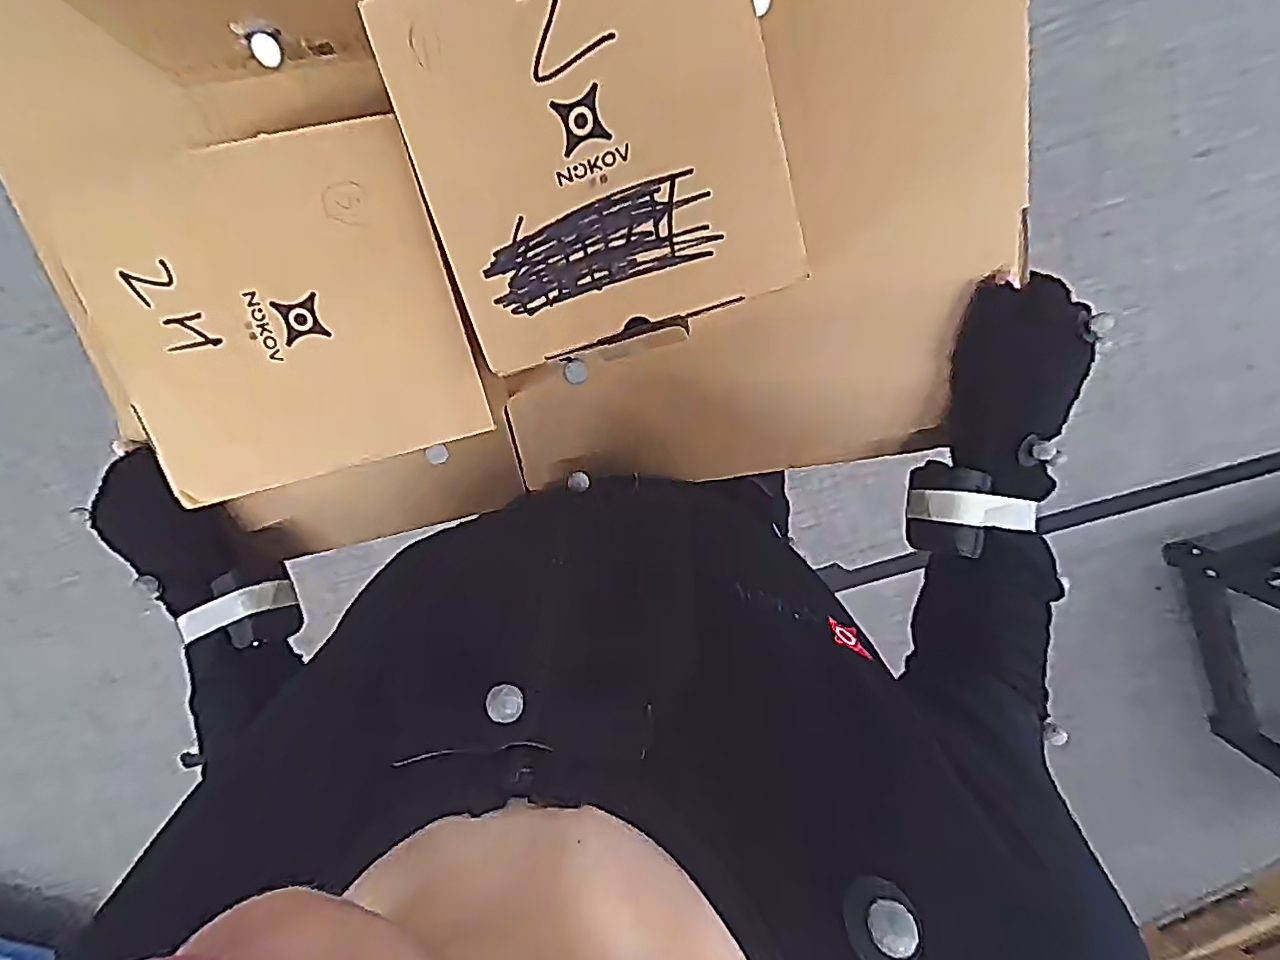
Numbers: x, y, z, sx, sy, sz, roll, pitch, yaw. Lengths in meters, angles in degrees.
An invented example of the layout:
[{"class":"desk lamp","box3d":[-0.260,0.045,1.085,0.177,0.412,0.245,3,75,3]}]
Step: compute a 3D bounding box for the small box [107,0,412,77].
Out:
[{"class":"small box","box3d":[-0.243,-0.362,0.288,0.168,0.176,0.179,-15,107,-7]}]
